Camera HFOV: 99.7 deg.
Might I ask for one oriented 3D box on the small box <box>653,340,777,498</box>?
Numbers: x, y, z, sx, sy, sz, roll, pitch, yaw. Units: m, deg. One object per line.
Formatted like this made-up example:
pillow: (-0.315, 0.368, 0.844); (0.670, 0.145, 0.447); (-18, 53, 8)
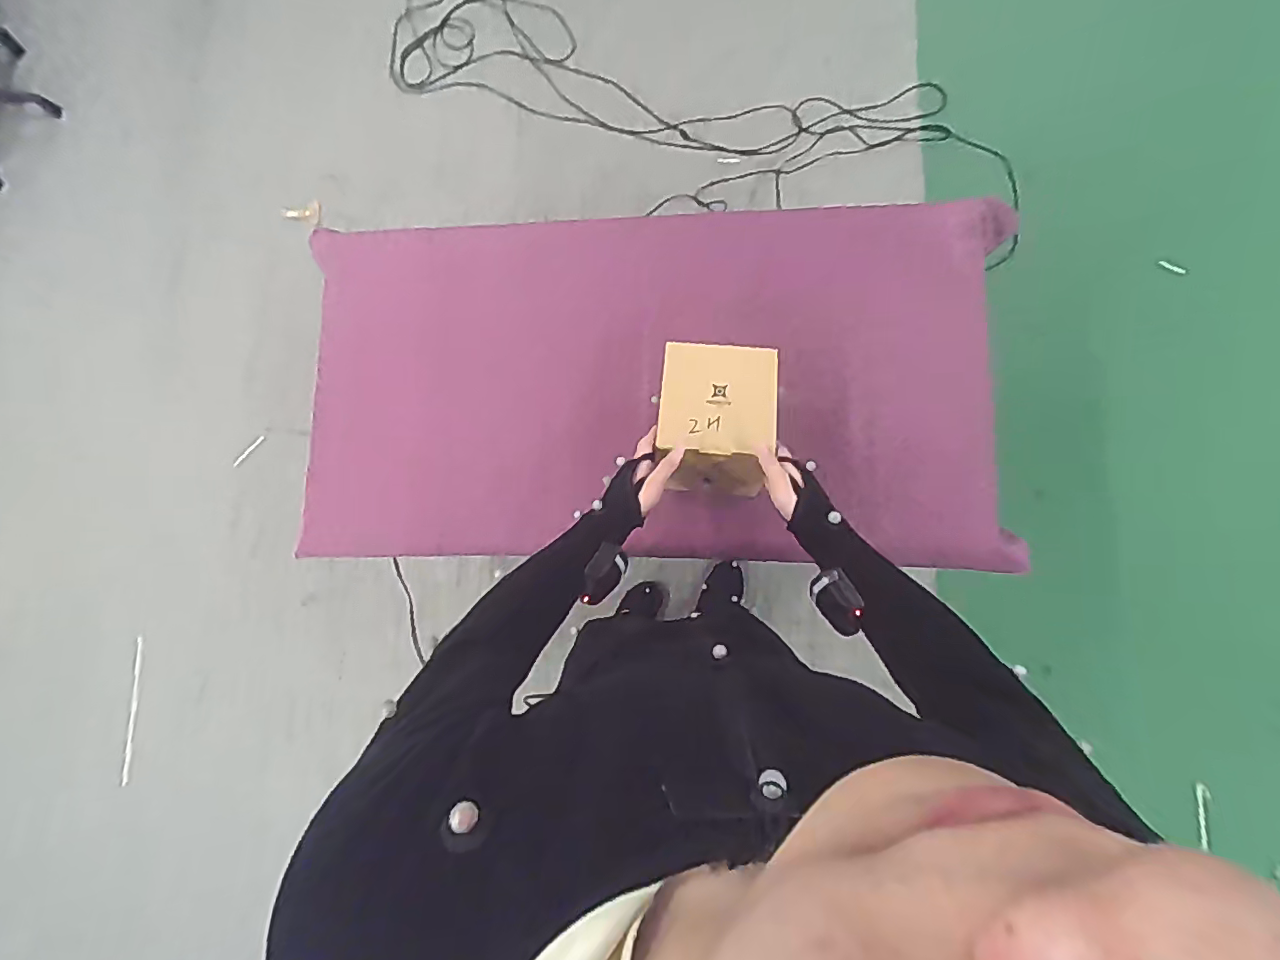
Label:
small box: (0.109, -0.088, 0.829); (0.168, 0.176, 0.179); (6, 69, 4)
